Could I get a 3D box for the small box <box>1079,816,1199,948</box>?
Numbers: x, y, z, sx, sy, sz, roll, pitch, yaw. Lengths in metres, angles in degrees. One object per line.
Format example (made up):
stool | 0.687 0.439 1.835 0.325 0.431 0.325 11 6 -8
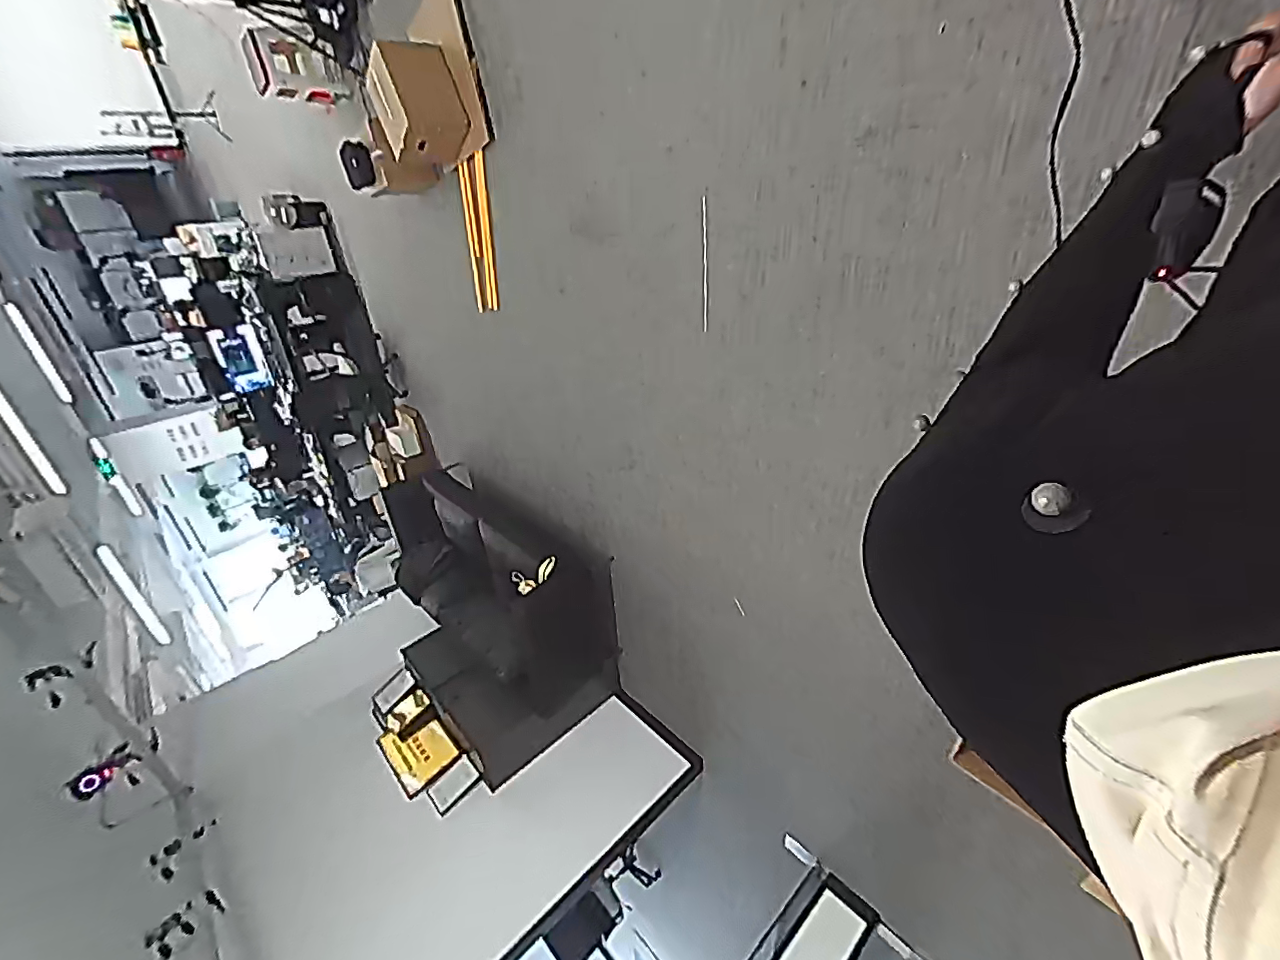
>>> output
small box | 1.253 1.001 1.357 0.168 0.176 0.179 27 133 40
